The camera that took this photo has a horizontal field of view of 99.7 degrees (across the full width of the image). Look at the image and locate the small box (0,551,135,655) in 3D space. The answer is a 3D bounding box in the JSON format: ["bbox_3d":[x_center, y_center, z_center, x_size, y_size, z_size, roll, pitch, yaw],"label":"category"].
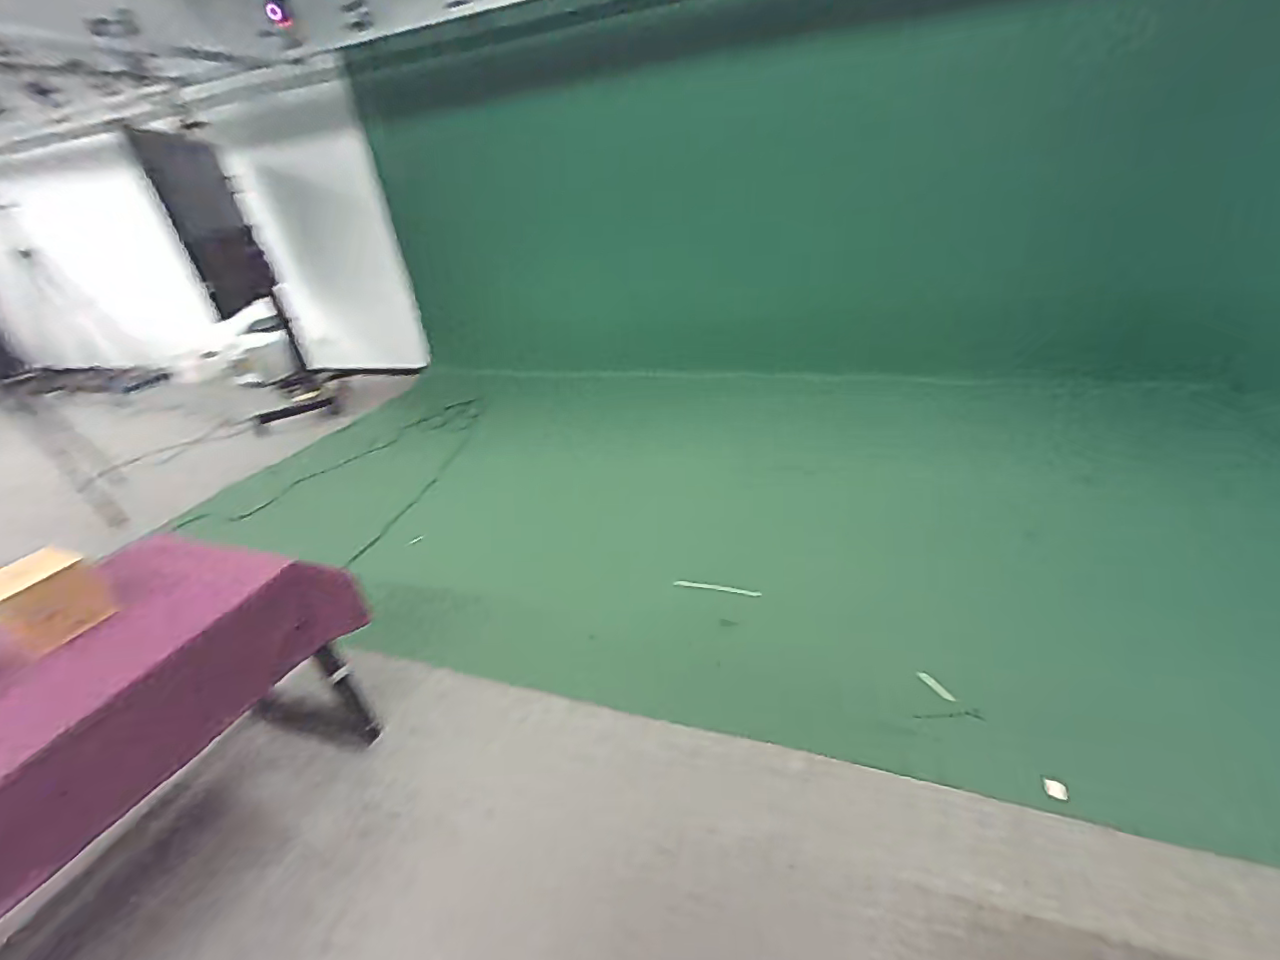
[{"bbox_3d":[-1.399,0.298,1.316,0.179,0.176,0.168,6,33,24],"label":"small box"}]
